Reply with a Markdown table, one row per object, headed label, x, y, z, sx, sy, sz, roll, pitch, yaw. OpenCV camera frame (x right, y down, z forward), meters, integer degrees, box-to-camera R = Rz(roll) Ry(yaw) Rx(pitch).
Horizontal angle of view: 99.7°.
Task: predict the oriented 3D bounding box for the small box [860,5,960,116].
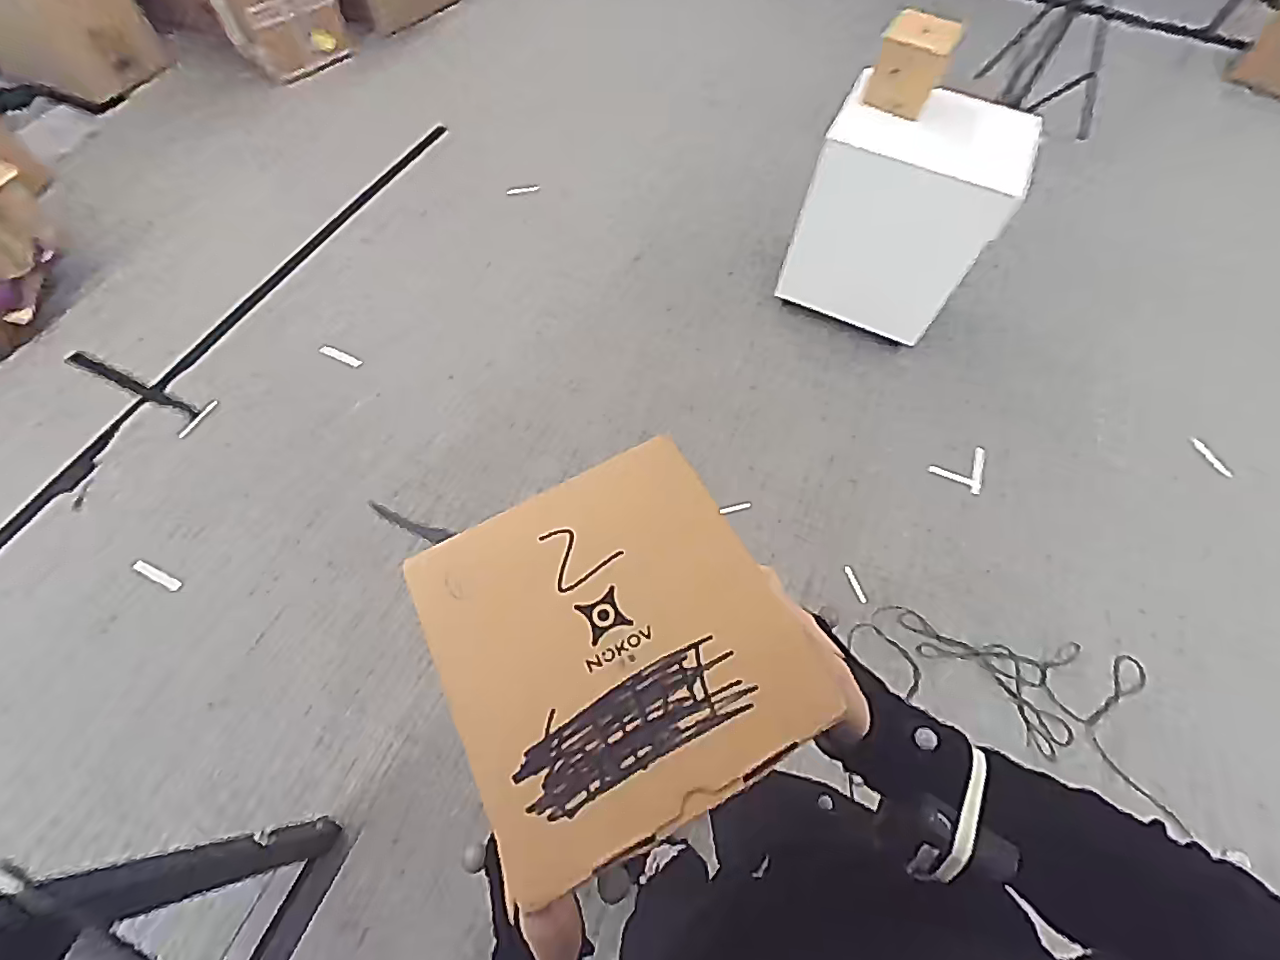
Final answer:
| label | x | y | z | sx | sy | sz | roll | pitch | yaw |
| --- | --- | --- | --- | --- | --- | --- | --- | --- | --- |
| small box | 0.720 | -1.127 | 1.462 | 0.168 | 0.176 | 0.179 | 28 | 65 | 11 |
